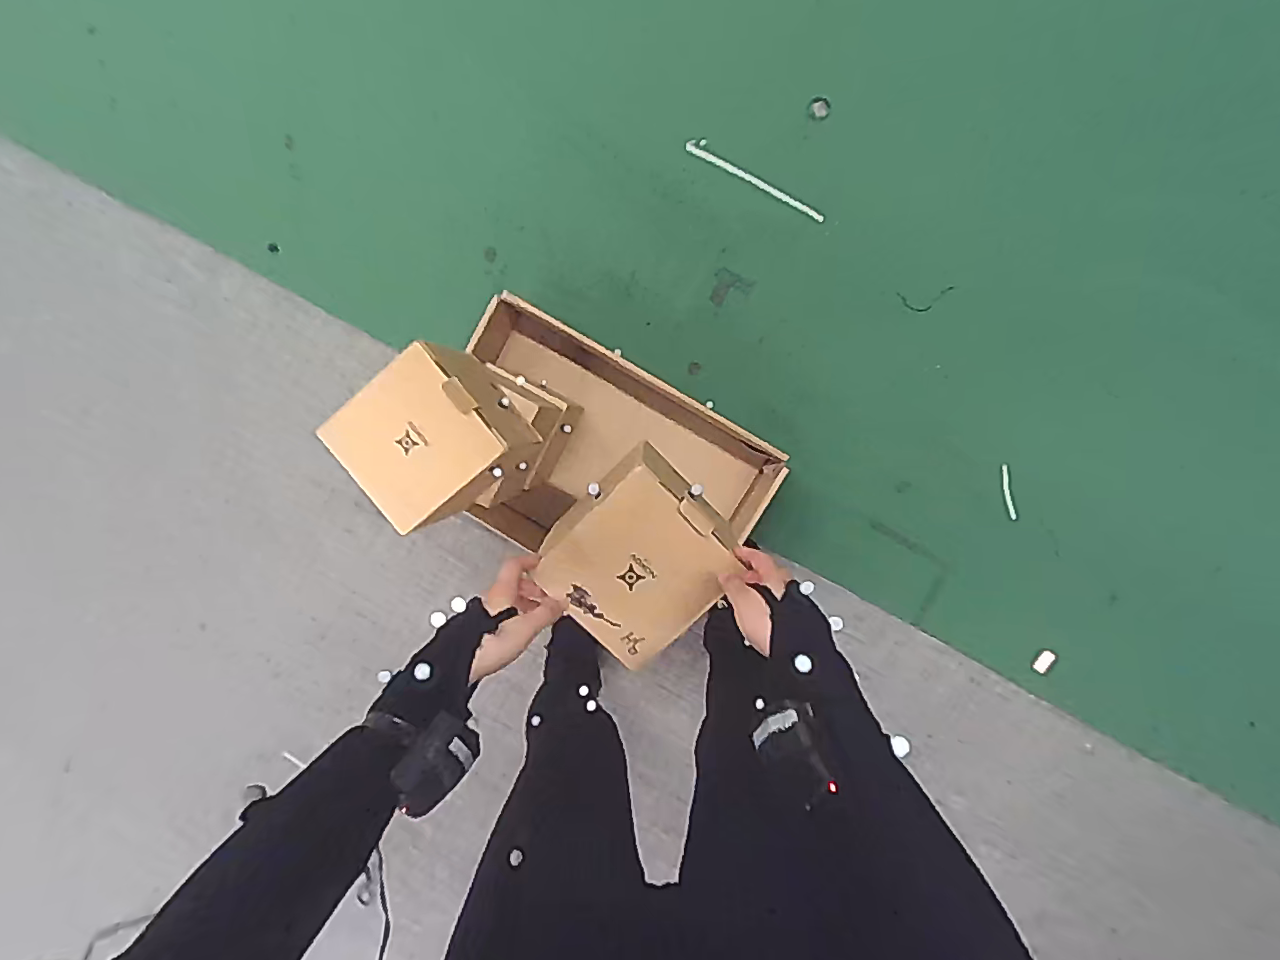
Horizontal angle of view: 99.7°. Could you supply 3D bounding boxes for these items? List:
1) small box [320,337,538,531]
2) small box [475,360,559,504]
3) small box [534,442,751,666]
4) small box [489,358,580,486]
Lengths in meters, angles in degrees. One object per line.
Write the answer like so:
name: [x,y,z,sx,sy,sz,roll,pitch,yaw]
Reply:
small box: [-0.262,-0.059,0.717,0.179,0.176,0.168,-39,92,7]
small box: [-0.249,-0.085,0.878,0.168,0.176,0.179,29,97,0]
small box: [0.002,0.075,0.650,0.179,0.176,0.168,-44,99,10]
small box: [-0.227,-0.110,1.038,0.168,0.176,0.179,29,97,1]
